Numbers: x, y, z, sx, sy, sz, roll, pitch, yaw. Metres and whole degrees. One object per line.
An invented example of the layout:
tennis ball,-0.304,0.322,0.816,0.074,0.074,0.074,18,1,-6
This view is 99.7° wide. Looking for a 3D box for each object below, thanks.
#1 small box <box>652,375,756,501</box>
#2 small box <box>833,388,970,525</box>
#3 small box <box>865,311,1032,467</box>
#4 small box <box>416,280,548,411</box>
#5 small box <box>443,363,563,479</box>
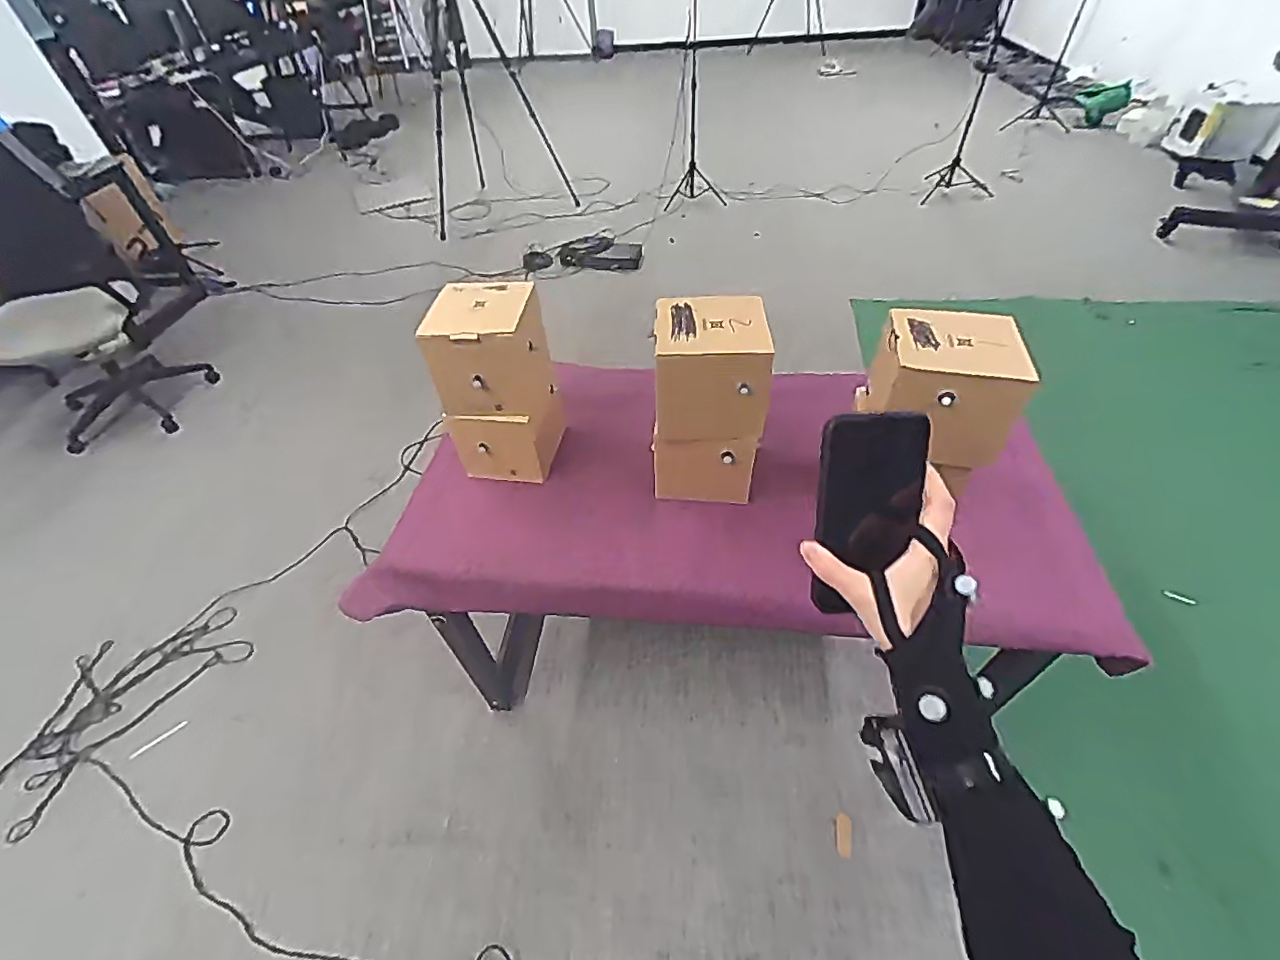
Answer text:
small box,0.121,-0.076,1.018,0.179,0.176,0.168,4,47,8
small box,0.455,-0.039,0.963,0.179,0.176,0.168,9,48,13
small box,0.453,-0.138,0.832,0.179,0.176,0.168,9,48,11
small box,-0.269,-0.239,0.971,0.168,0.176,0.179,2,48,4
small box,-0.262,-0.121,1.086,0.168,0.176,0.179,5,47,8
